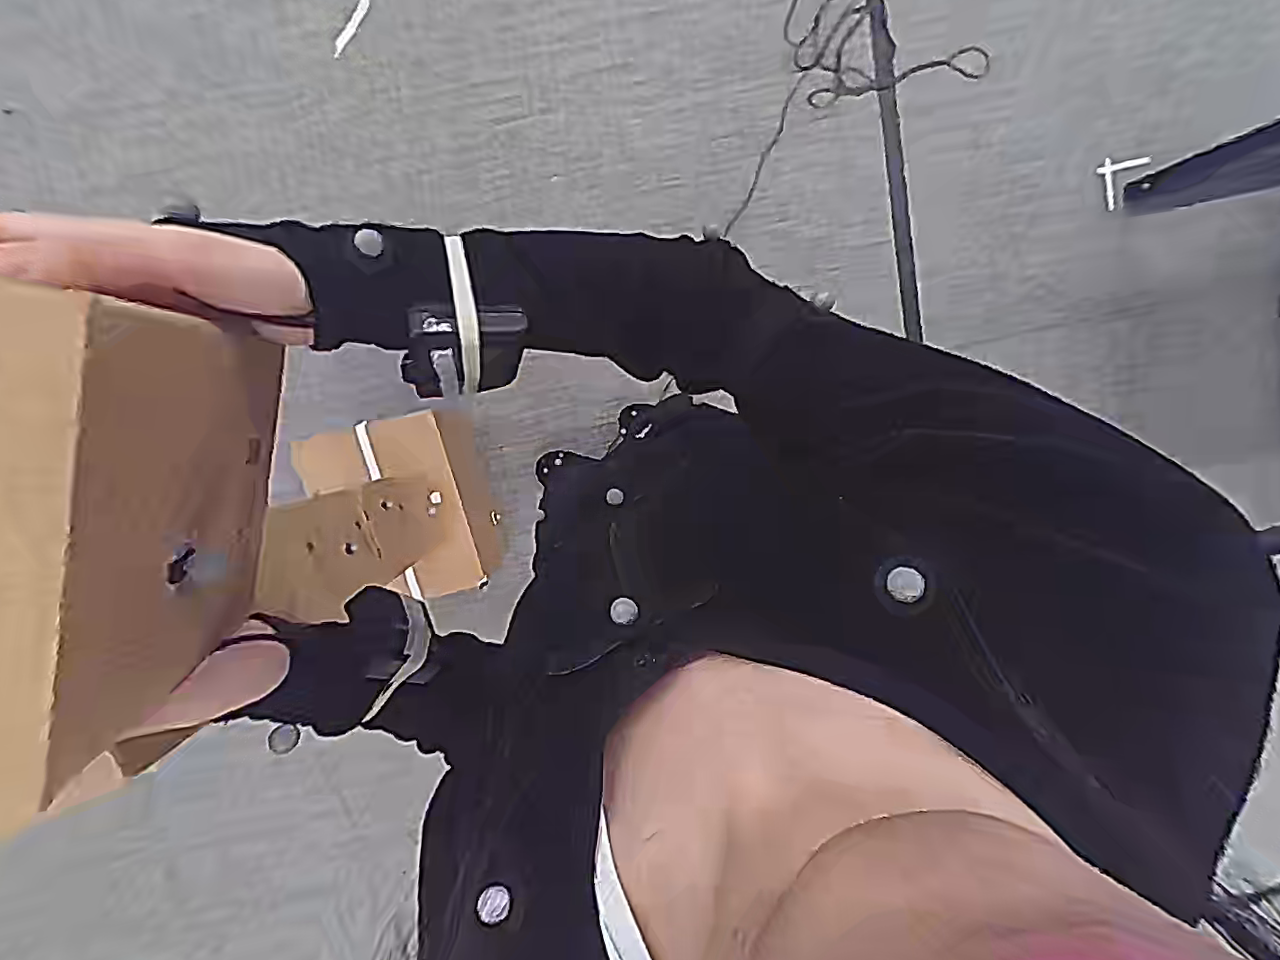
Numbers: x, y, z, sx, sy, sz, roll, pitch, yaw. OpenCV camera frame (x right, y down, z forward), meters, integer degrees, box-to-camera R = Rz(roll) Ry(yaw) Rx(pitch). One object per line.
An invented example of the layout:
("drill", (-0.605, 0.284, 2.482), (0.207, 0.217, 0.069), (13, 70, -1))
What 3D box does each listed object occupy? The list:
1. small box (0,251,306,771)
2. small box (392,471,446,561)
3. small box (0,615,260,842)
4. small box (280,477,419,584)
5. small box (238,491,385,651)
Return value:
("small box", (-0.266, -0.009, 0.225), (0.179, 0.176, 0.168), (10, 96, -16))
("small box", (-0.521, 0.085, 1.096), (0.179, 0.176, 0.168), (-16, 98, -3))
("small box", (-0.463, 0.160, 0.449), (0.179, 0.176, 0.168), (-25, 97, -3))
("small box", (-0.504, 0.099, 0.936), (0.179, 0.176, 0.168), (-17, 97, -2))
("small box", (-0.493, 0.124, 0.773), (0.179, 0.176, 0.168), (-21, 97, -2))
